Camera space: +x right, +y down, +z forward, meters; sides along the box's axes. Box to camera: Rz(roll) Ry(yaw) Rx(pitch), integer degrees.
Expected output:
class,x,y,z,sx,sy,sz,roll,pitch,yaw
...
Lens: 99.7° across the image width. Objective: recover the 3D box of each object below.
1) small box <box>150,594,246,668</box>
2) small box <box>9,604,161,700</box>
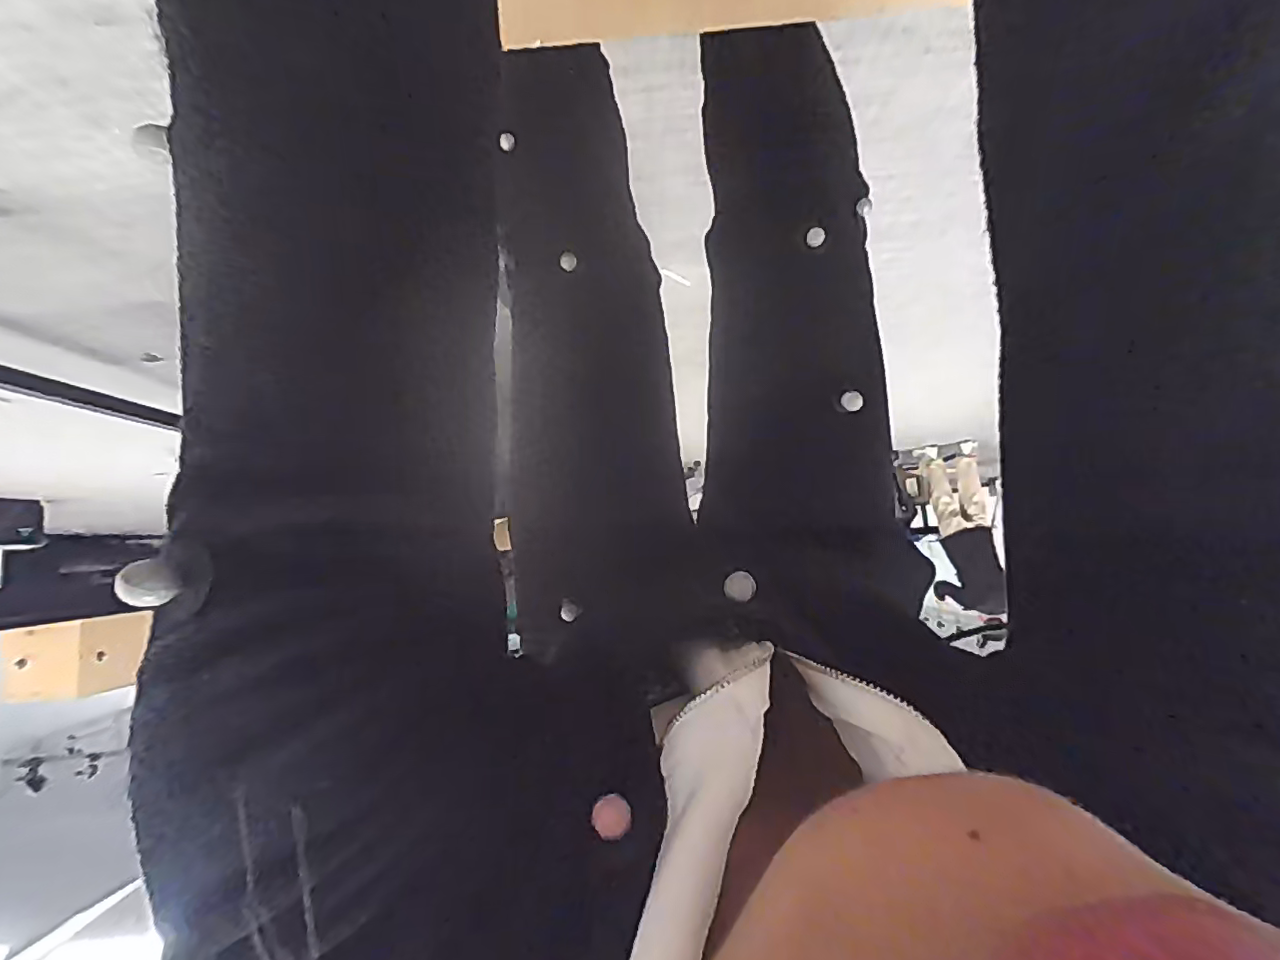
class,x,y,z,sx,sy,sz,roll,pitch,yaw
small box,-1.214,0.408,1.471,0.168,0.176,0.179,-4,173,0
small box,-1.218,0.373,1.199,0.168,0.176,0.179,-3,174,2
